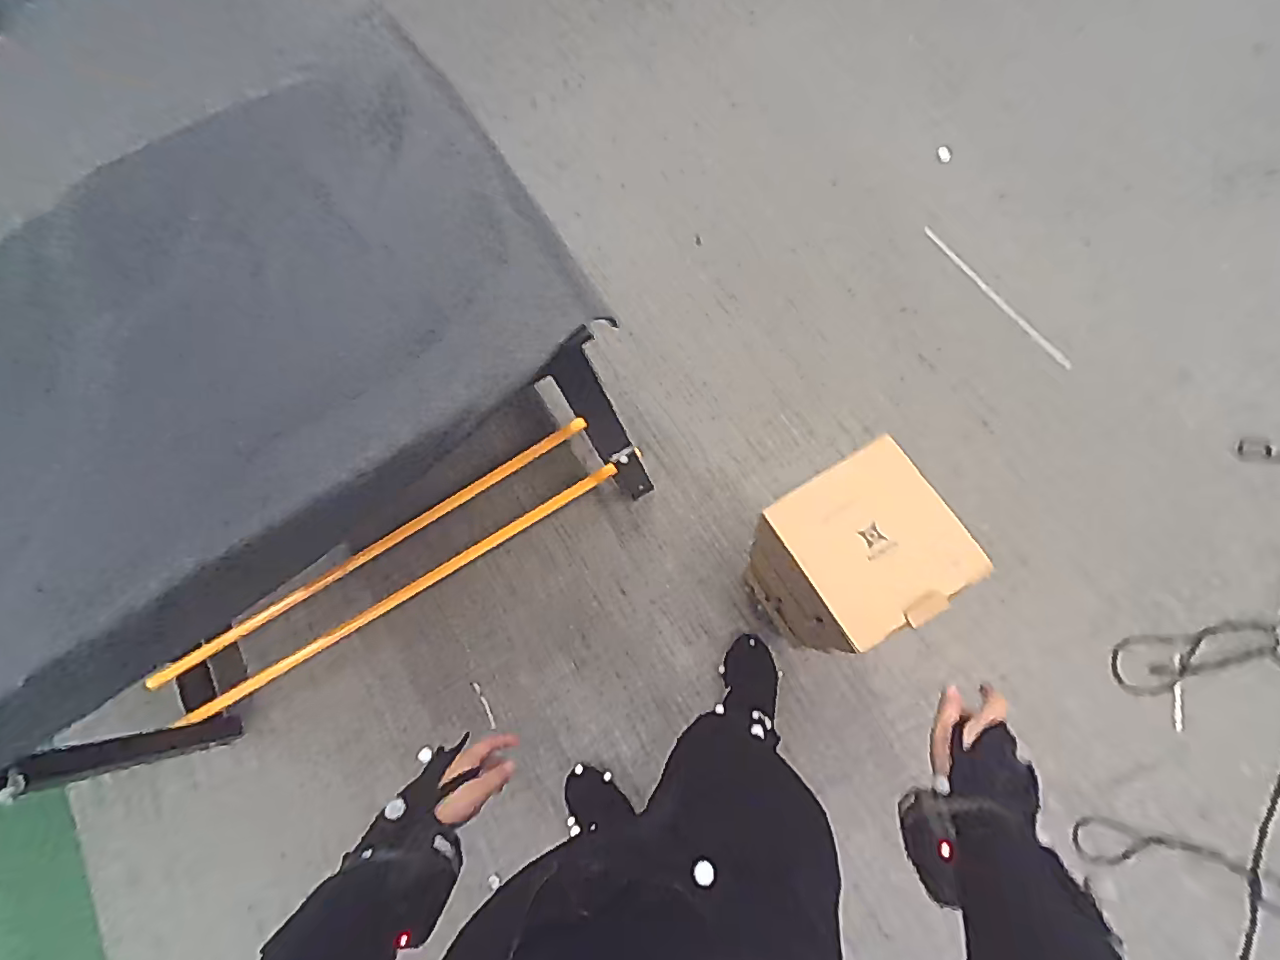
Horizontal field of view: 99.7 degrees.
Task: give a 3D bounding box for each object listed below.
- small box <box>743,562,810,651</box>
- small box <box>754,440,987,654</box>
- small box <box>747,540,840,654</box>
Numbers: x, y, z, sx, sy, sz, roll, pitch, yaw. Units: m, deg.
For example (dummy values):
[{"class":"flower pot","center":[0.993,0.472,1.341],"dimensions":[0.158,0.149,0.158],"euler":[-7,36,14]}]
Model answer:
[{"class":"small box","center":[0.297,0.184,0.955],"dimensions":[0.179,0.176,0.168],"euler":[-33,73,-3]},{"class":"small box","center":[0.254,0.085,0.647],"dimensions":[0.168,0.176,0.179],"euler":[-32,72,-2]},{"class":"small box","center":[0.276,0.134,0.800],"dimensions":[0.168,0.176,0.179],"euler":[-31,74,-3]}]
